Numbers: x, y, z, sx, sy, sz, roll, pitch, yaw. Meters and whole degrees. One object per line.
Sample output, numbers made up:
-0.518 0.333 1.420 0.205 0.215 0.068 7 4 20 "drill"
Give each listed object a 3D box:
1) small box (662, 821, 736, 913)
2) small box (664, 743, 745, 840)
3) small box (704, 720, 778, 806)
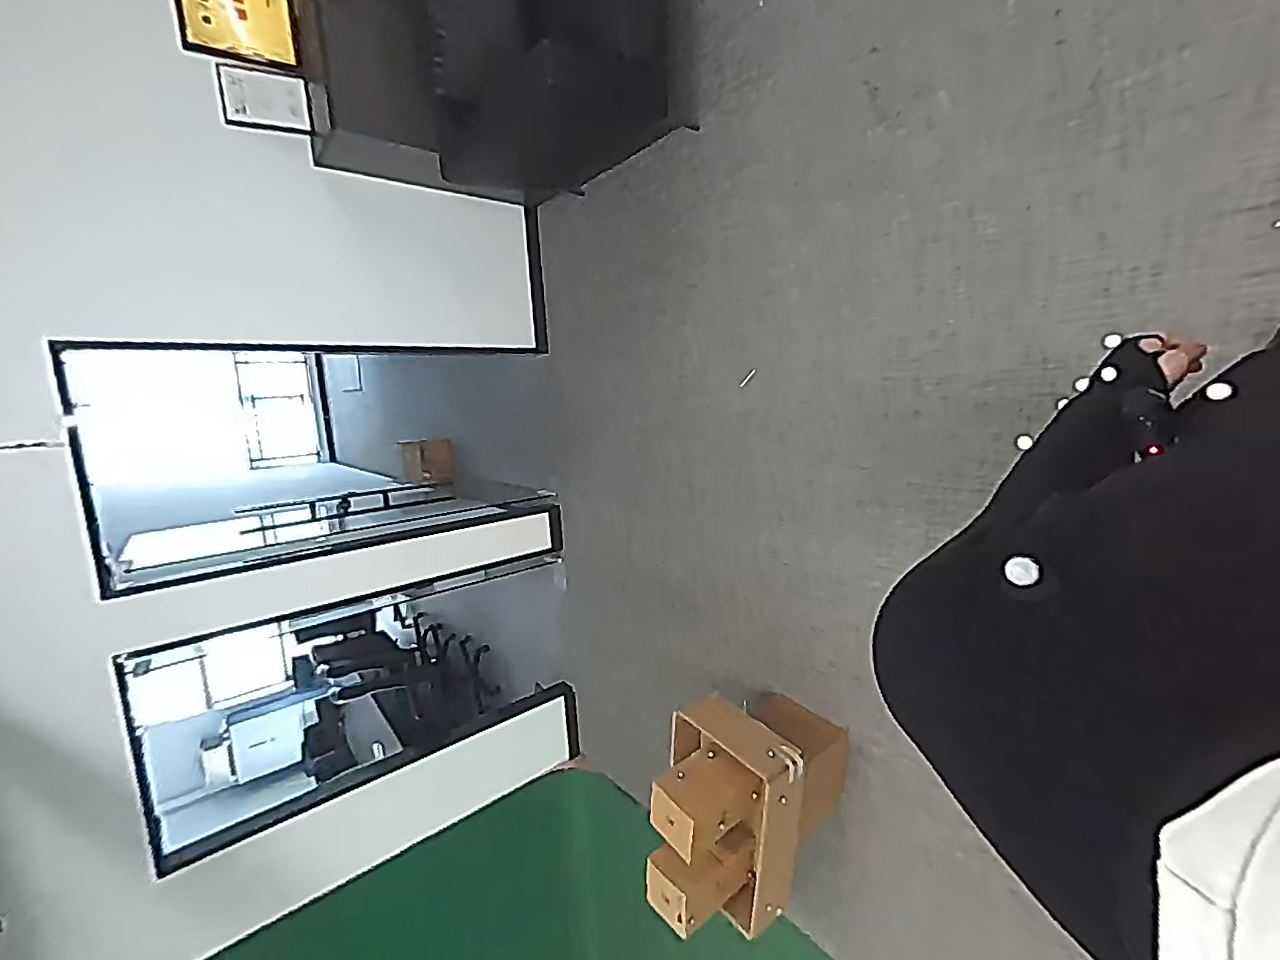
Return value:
0.190 1.234 1.761 0.179 0.176 0.168 15 112 50 "small box"
0.198 0.954 1.681 0.179 0.176 0.168 24 117 47 "small box"
0.324 0.924 1.779 0.179 0.176 0.168 25 118 47 "small box"
